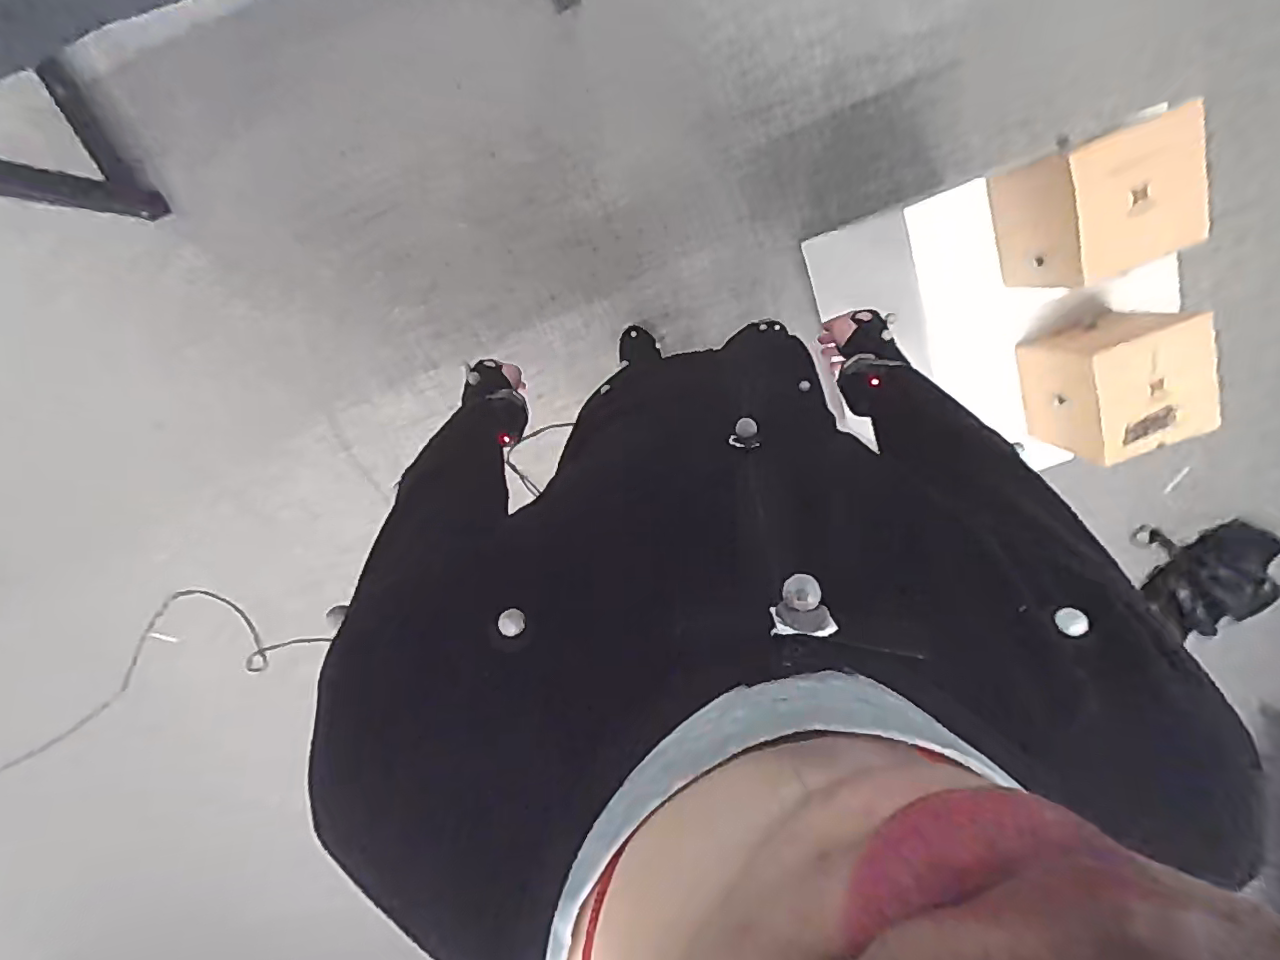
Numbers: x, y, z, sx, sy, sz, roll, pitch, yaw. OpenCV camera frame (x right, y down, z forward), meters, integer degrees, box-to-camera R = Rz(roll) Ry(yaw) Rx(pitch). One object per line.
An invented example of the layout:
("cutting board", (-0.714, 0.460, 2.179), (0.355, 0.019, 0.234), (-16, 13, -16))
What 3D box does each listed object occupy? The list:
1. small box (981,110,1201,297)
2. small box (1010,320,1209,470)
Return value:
("small box", (0.628, -0.376, 0.769), (0.168, 0.176, 0.179), (-23, 107, 4))
("small box", (0.724, -0.141, 0.848), (0.168, 0.176, 0.179), (-20, 107, 4))
